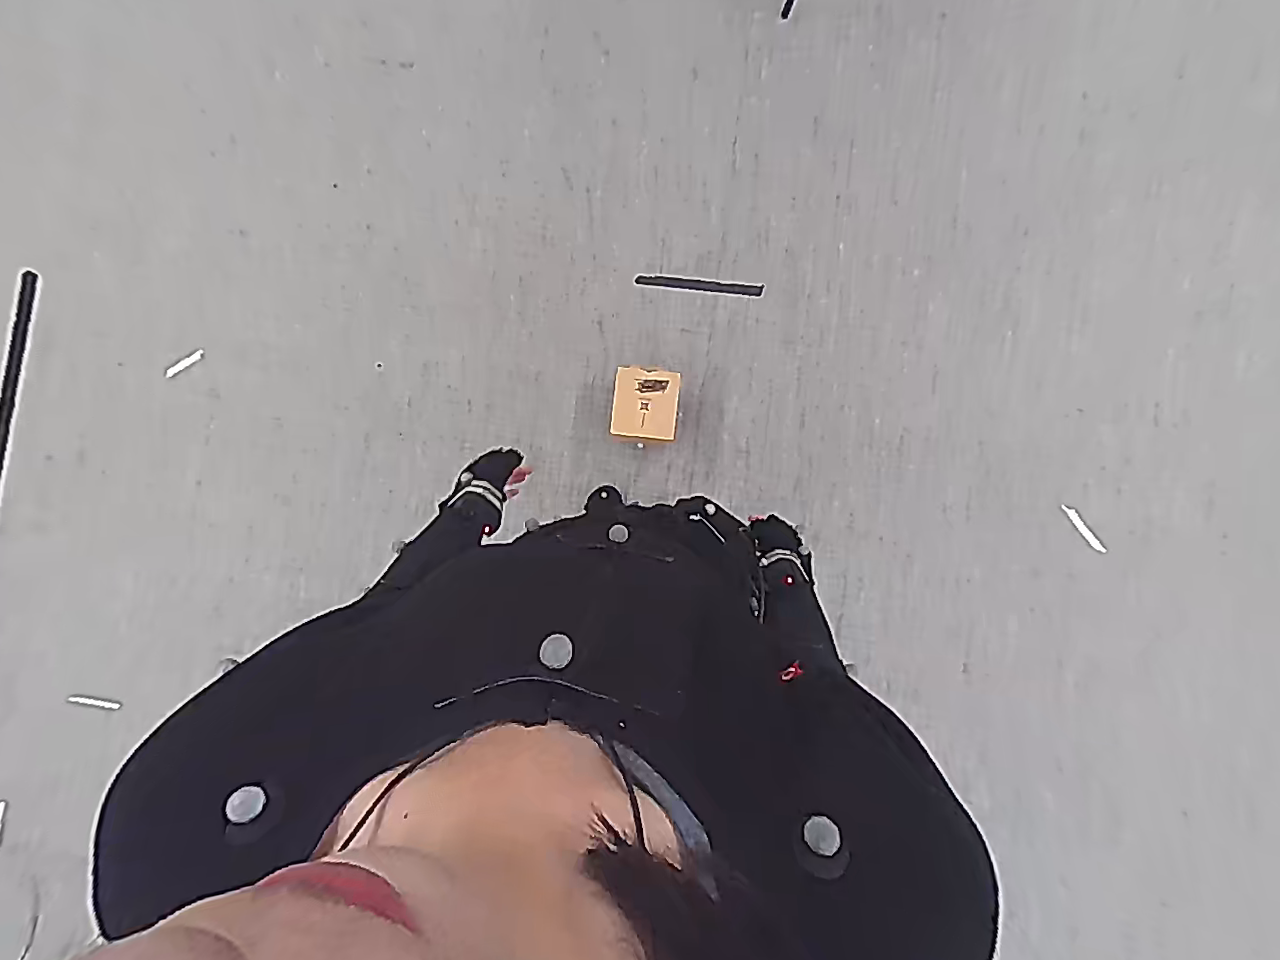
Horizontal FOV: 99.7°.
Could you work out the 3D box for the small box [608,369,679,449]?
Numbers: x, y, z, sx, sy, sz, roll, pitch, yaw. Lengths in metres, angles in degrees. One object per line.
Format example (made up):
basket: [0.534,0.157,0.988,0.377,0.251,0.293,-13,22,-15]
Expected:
small box: [0.011,-0.186,1.452,0.168,0.176,0.179,7,89,3]
